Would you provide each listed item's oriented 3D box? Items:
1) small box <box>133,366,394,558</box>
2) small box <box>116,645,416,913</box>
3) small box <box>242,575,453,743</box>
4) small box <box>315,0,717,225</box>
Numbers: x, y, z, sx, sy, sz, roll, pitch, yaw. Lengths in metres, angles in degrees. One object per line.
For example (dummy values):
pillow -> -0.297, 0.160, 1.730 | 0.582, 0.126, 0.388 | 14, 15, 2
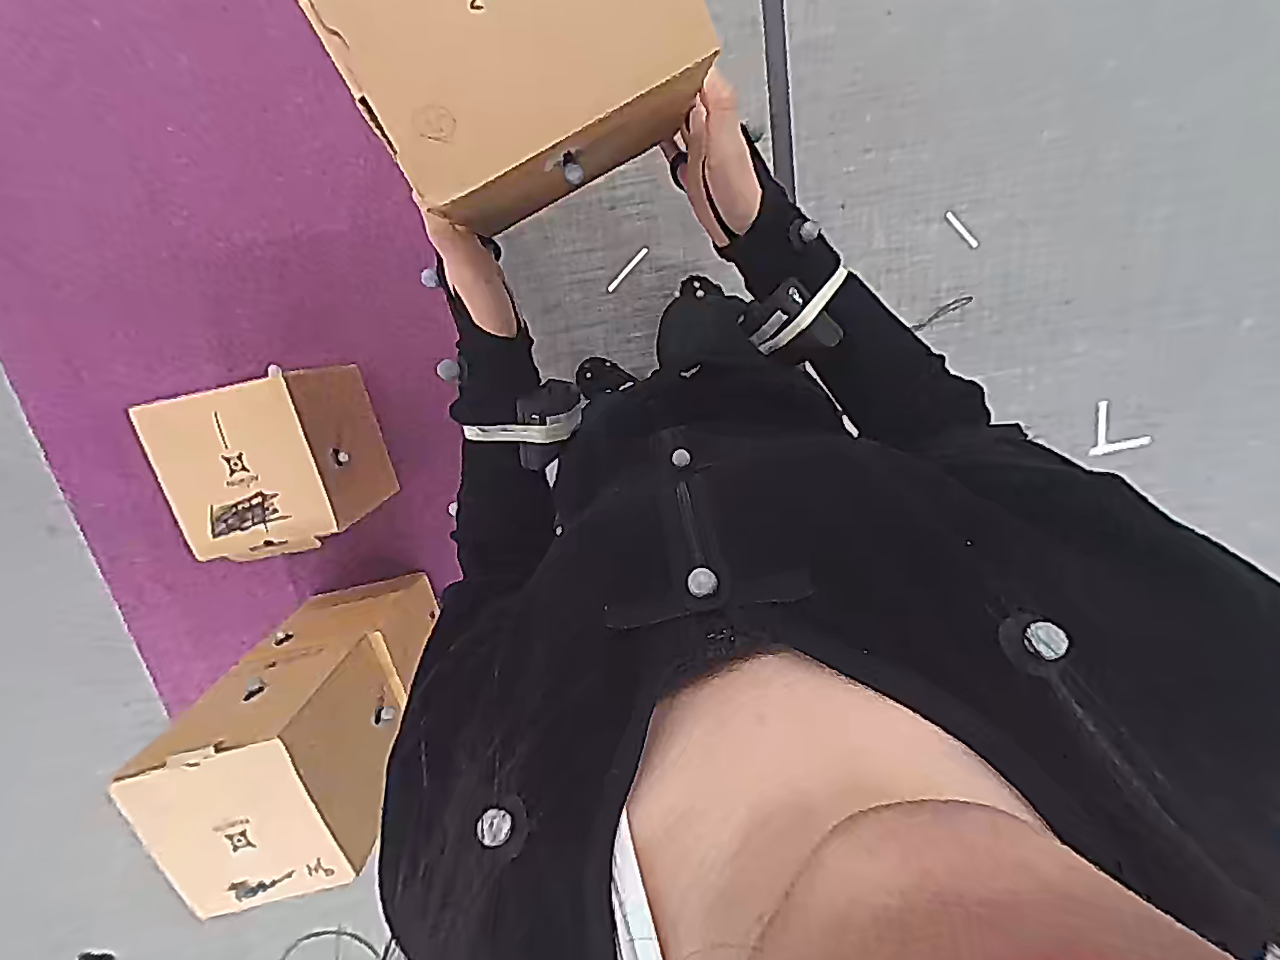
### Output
small box -> -0.427, -0.031, 0.651 | 0.168, 0.176, 0.179 | -12, 105, 1
small box -> -0.370, 0.298, 0.576 | 0.168, 0.176, 0.179 | -15, 105, 2
small box -> -0.371, 0.247, 0.732 | 0.179, 0.176, 0.168 | -13, 106, 2
small box -> -0.076, -0.278, 0.331 | 0.179, 0.176, 0.168 | -26, 110, 5
